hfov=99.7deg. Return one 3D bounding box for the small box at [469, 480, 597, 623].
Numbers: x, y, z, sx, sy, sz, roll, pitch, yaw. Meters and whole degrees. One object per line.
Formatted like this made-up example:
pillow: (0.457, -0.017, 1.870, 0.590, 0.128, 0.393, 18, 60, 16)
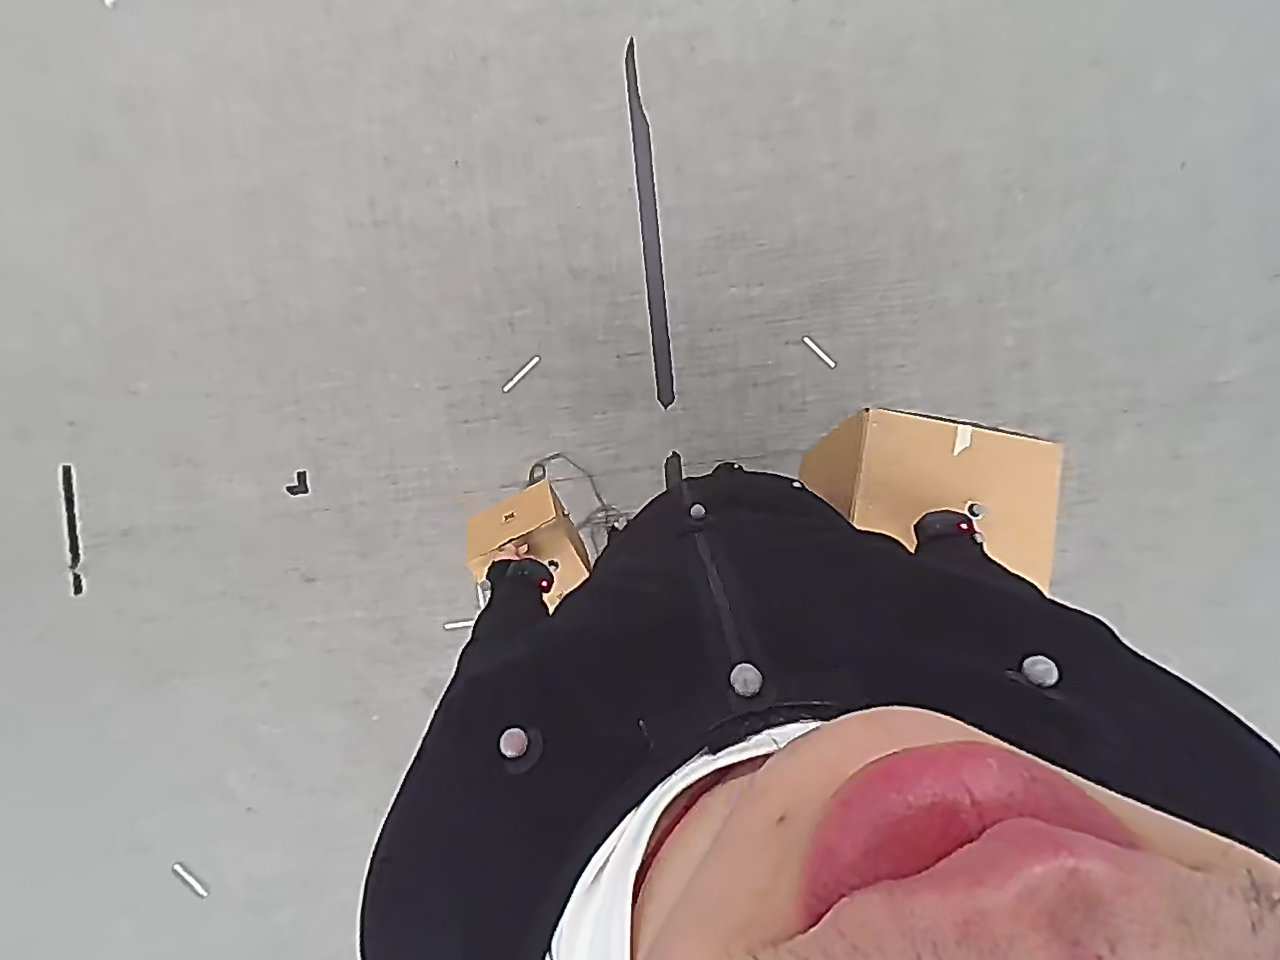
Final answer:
small box: (-0.192, 0.134, 0.982, 0.168, 0.179, 0.176, -27, 116, -2)
